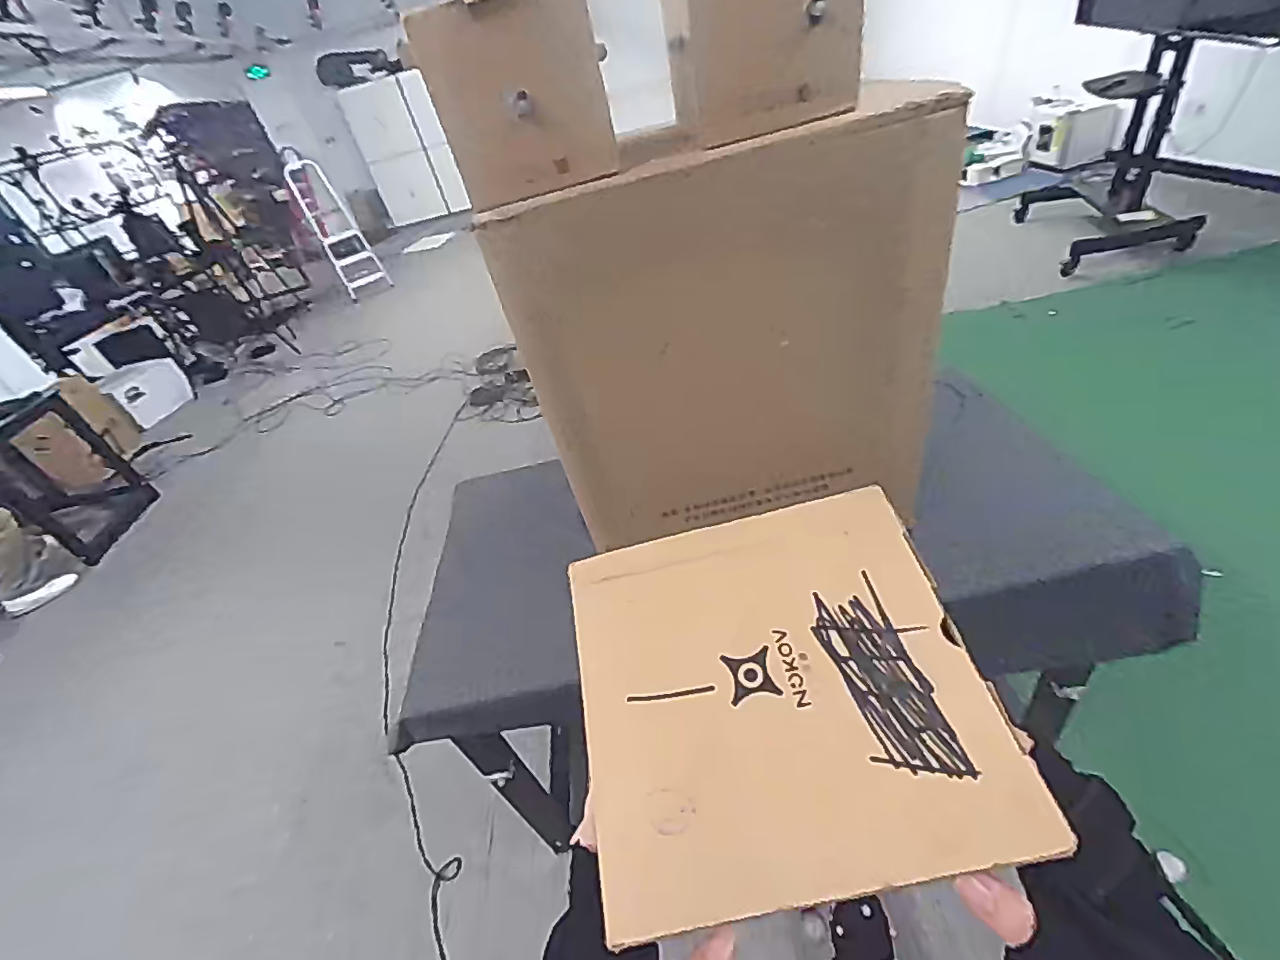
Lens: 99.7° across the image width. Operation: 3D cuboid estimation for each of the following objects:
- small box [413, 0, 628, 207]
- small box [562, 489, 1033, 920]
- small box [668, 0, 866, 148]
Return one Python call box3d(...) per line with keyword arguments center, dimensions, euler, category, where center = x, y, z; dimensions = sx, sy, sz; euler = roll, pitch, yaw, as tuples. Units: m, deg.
box3d(center=(-0.114, -0.416, 0.587), dimensions=(0.168, 0.176, 0.179), euler=(-13, 40, 3), category="small box")
box3d(center=(0.064, 0.132, 0.314), dimensions=(0.179, 0.176, 0.168), euler=(-13, 52, 3), category="small box")
box3d(center=(0.128, -0.469, 0.573), dimensions=(0.168, 0.176, 0.179), euler=(-12, 39, 2), category="small box")
